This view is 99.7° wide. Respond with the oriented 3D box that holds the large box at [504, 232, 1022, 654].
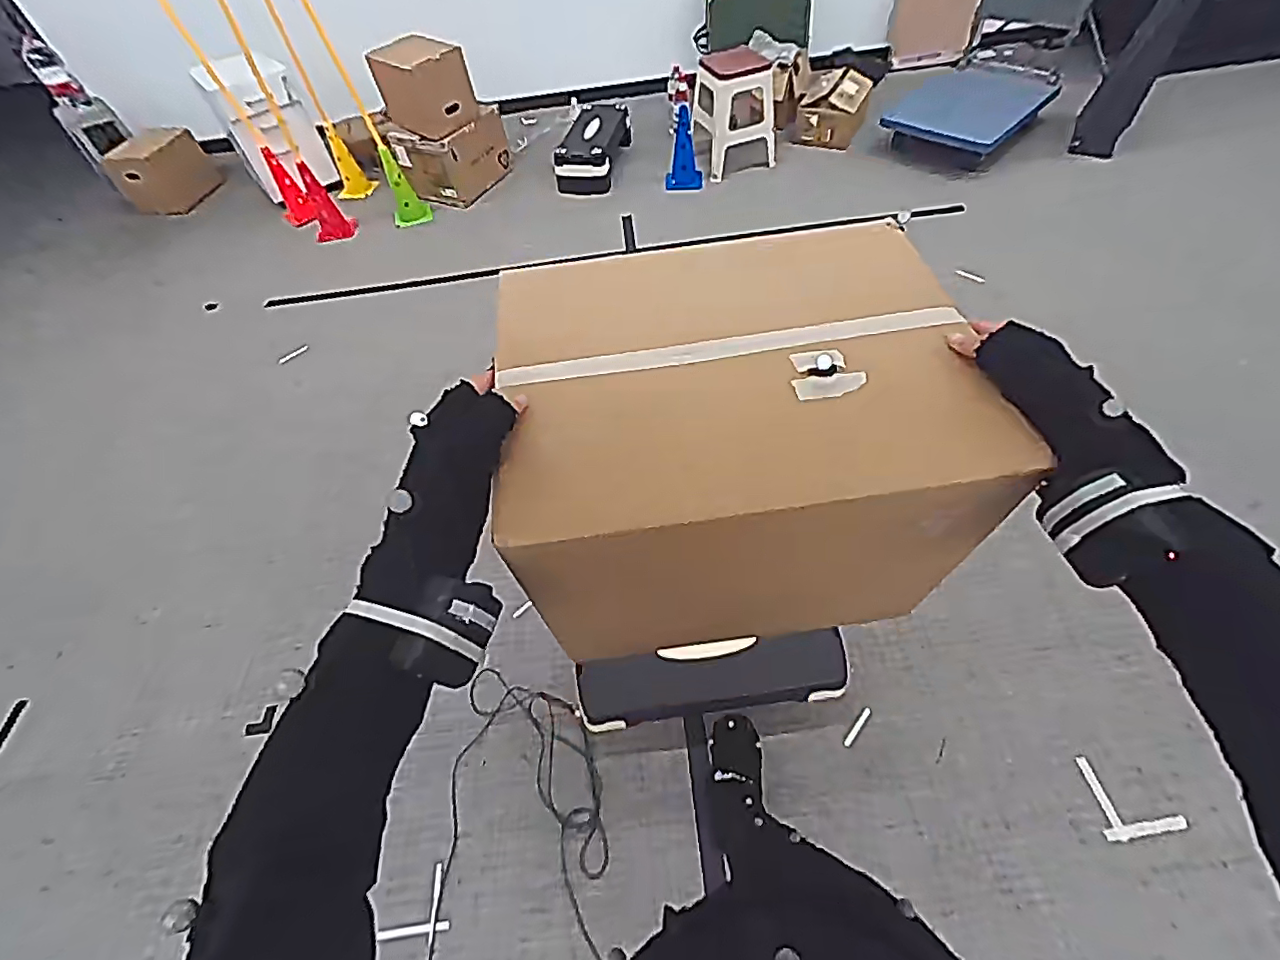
[{"bbox_3d":[0.083,-0.027,0.606,0.408,0.320,0.320,-8,57,-1],"label":"large box"}]
